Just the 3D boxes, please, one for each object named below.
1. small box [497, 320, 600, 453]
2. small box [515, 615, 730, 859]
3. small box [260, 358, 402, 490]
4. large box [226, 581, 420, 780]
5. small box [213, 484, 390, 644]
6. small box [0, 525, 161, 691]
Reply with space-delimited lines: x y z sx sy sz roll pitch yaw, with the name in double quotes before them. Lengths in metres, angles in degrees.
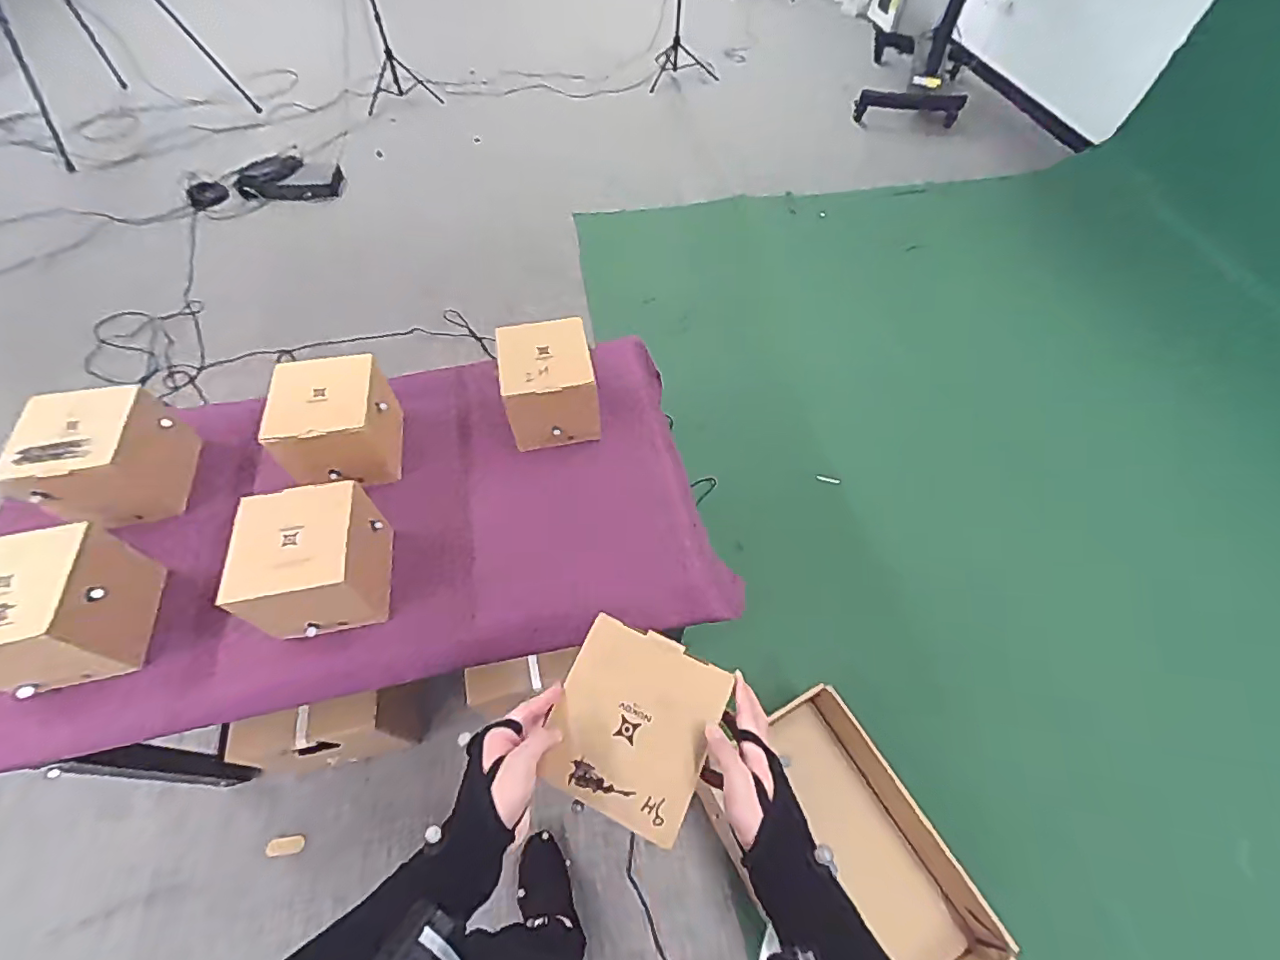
"small box" -0.173 -0.177 1.041 0.168 0.176 0.179 -10 58 -6
"small box" -0.011 0.283 0.618 0.168 0.176 0.179 22 68 15
"small box" -0.547 -0.095 0.985 0.168 0.176 0.179 -8 59 -7
"large box" -0.770 0.496 1.382 0.320 0.320 0.408 -10 56 -8
"small box" -0.502 0.132 0.835 0.168 0.176 0.179 -9 57 -6
"small box" -0.856 0.193 0.785 0.168 0.176 0.179 -11 56 -9
